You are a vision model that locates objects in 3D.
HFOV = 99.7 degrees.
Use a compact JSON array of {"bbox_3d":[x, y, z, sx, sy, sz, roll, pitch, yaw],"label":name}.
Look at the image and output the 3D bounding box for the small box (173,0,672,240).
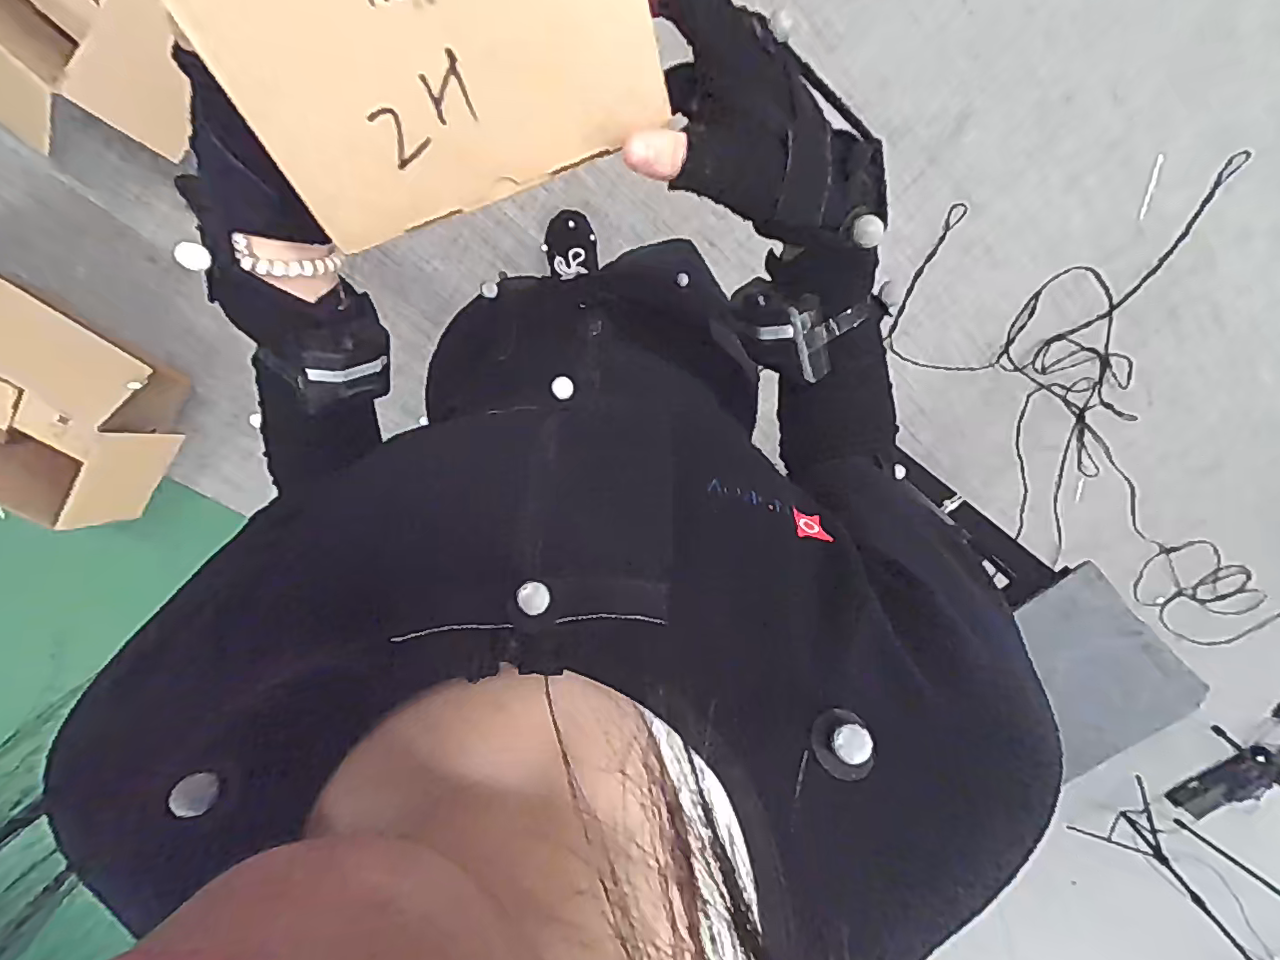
[{"bbox_3d":[-0.099,-0.245,0.243,0.168,0.176,0.179,-18,134,4],"label":"small box"}]
